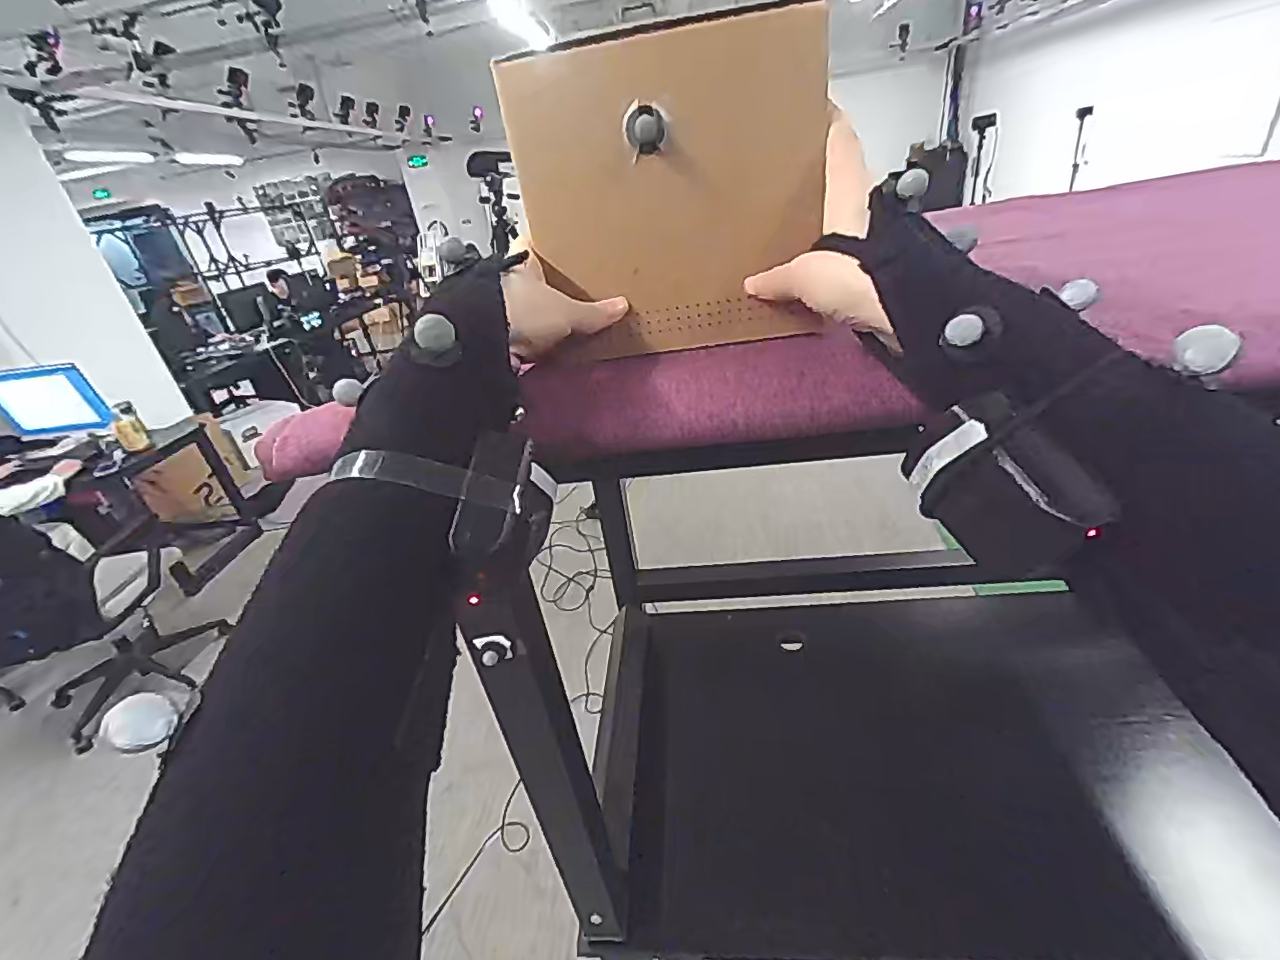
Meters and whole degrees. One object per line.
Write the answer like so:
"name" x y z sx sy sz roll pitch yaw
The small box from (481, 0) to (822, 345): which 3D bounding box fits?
"small box" 0.020 -0.199 0.370 0.179 0.176 0.168 -6 30 6
